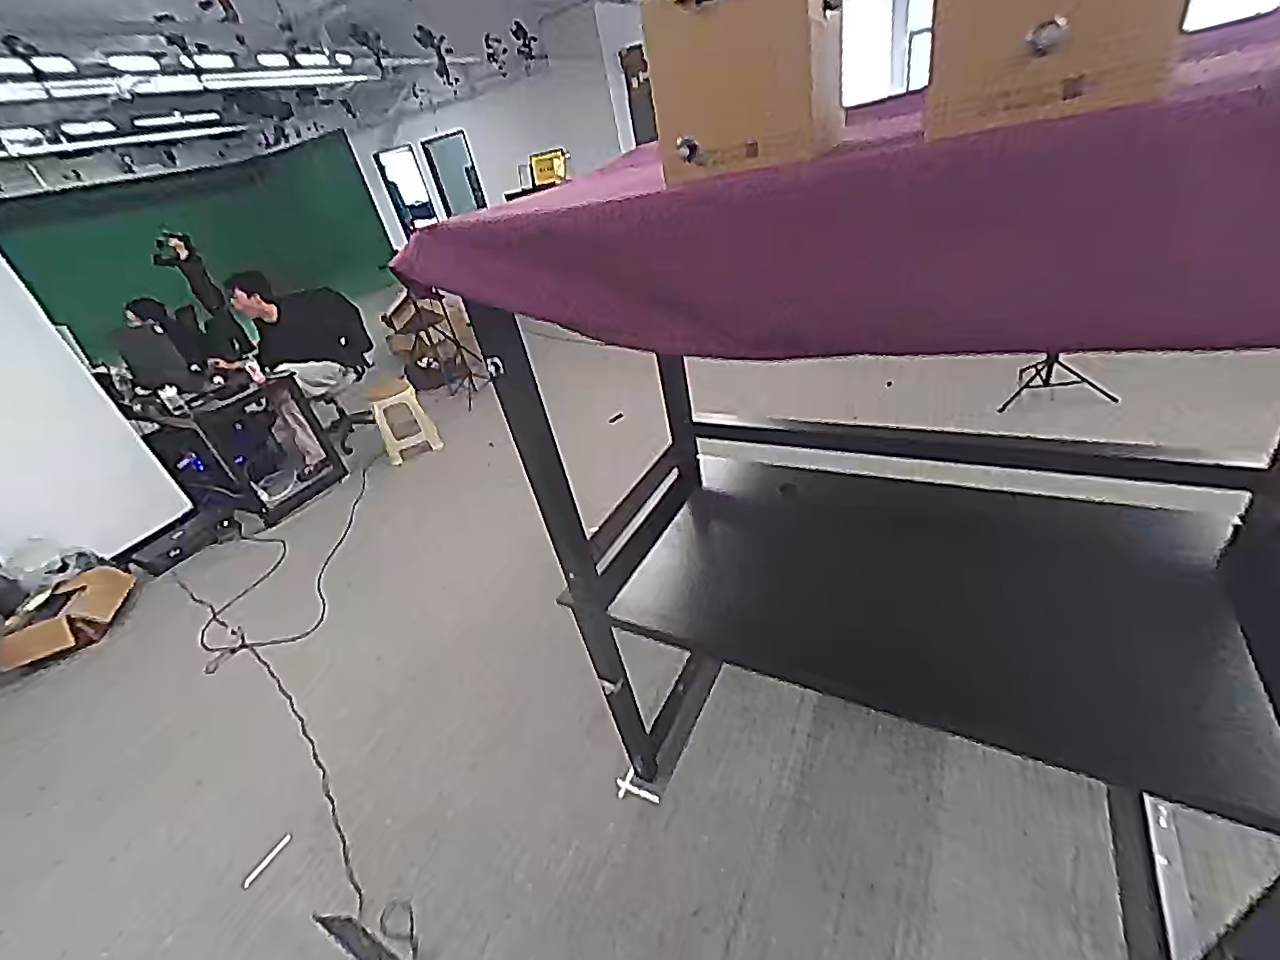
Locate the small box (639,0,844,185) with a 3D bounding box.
[{"bbox_3d":[0.122,-0.431,0.586,0.168,0.176,0.179,6,36,28],"label":"small box"}]

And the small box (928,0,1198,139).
[{"bbox_3d":[0.344,-0.399,0.452,0.168,0.176,0.179,6,36,29],"label":"small box"}]
